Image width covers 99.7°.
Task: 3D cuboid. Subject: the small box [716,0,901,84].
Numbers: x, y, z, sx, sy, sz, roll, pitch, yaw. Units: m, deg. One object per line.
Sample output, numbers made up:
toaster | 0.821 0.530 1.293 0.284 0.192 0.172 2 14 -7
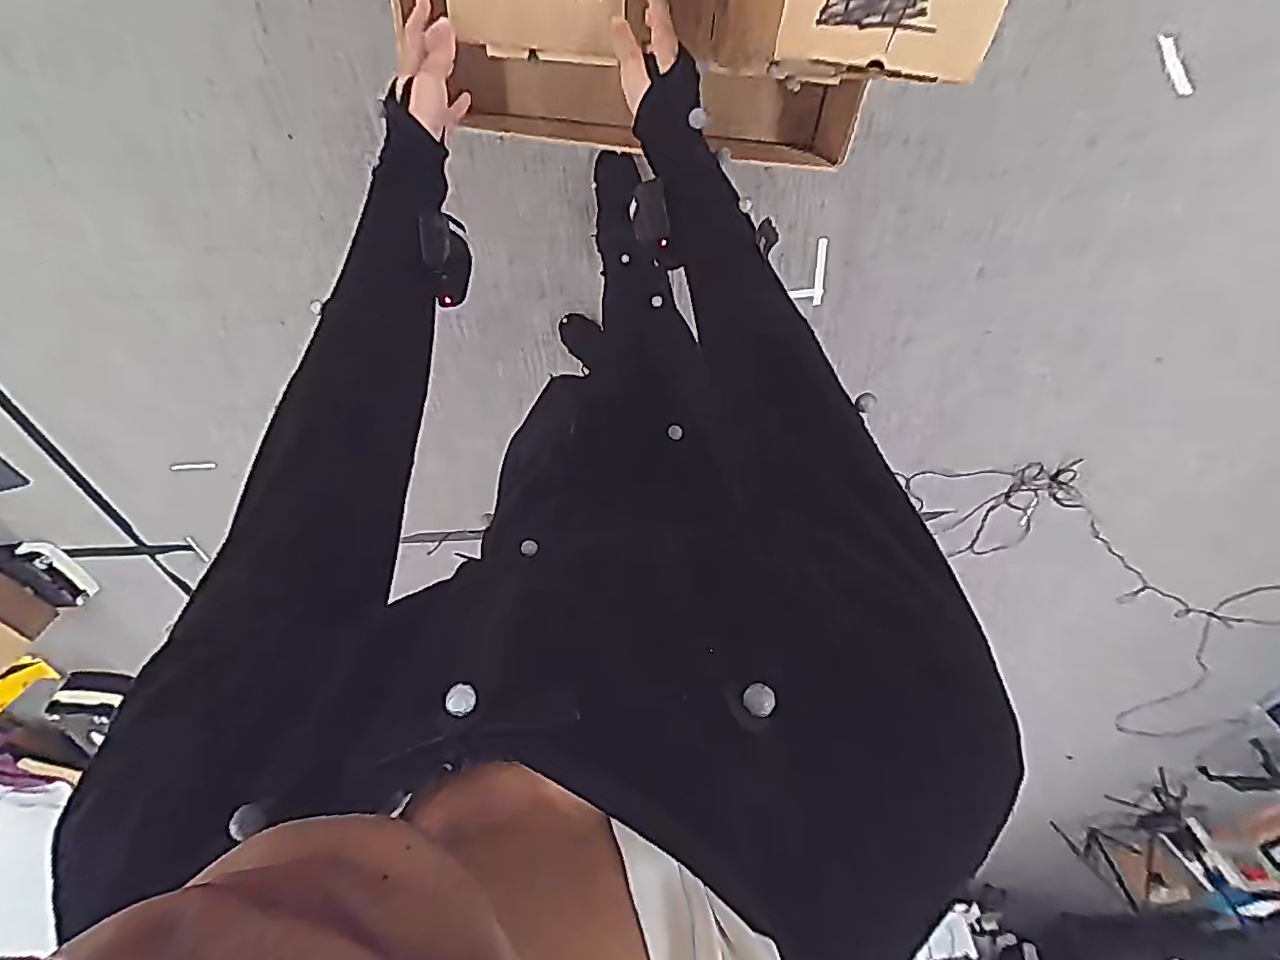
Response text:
small box | 0.186 -0.524 0.560 0.179 0.176 0.168 1 129 -3

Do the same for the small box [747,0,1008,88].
small box | 0.189 -0.430 0.423 0.168 0.176 0.179 5 128 -5

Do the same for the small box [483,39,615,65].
small box | -0.105 -0.639 0.677 0.168 0.176 0.179 2 129 -4

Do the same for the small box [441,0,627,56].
small box | -0.098 -0.541 0.545 0.179 0.176 0.168 3 129 -5
